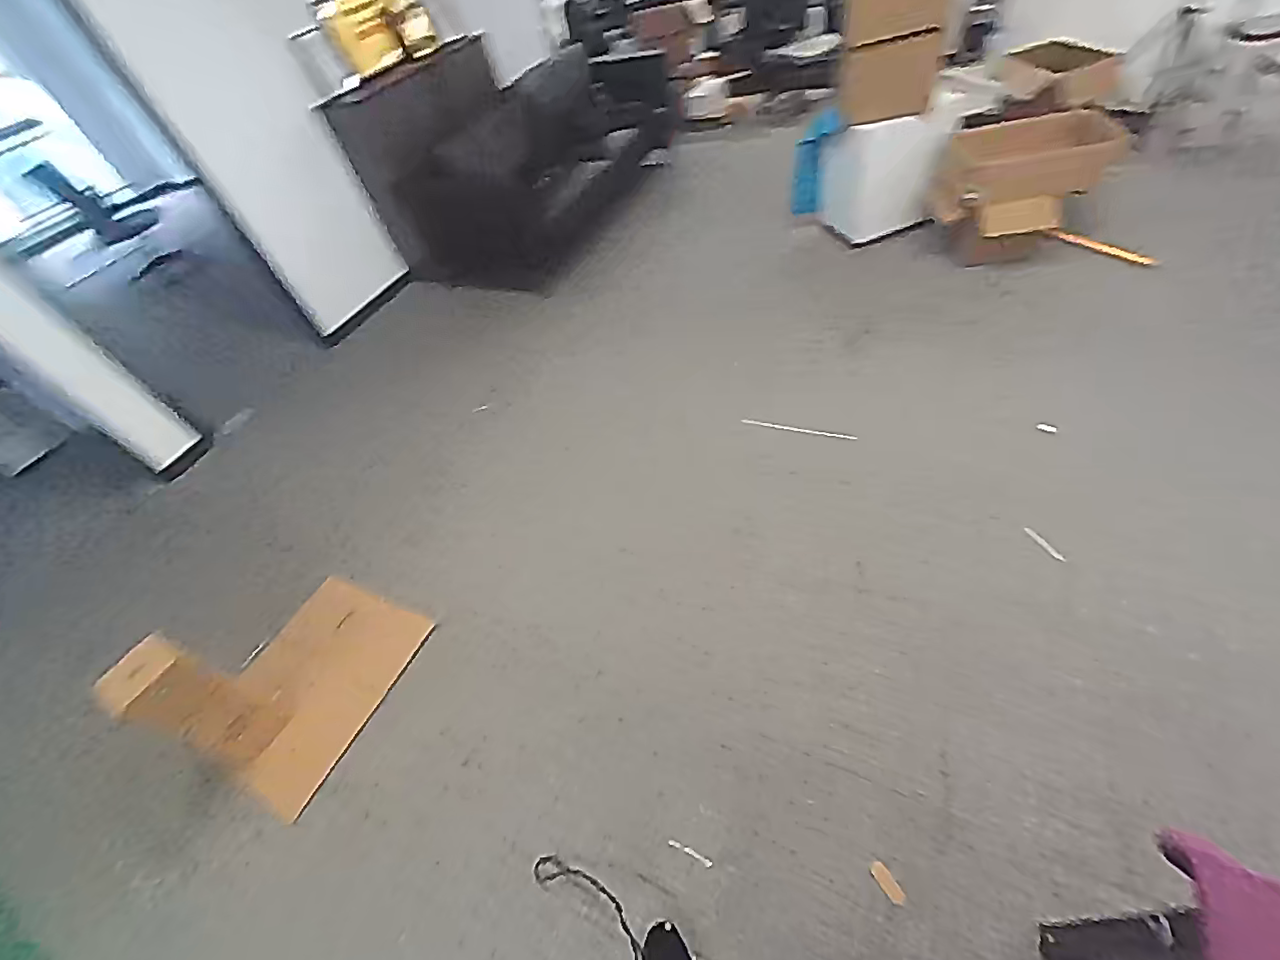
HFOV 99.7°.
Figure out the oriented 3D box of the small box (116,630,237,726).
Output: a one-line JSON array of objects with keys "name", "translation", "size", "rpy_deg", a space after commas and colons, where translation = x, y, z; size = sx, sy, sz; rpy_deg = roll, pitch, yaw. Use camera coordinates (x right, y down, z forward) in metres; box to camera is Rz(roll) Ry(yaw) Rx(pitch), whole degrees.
[{"name": "small box", "translation": [-1.322, 0.572, 1.552], "size": [0.168, 0.176, 0.179], "rpy_deg": [21, 58, 29]}]
